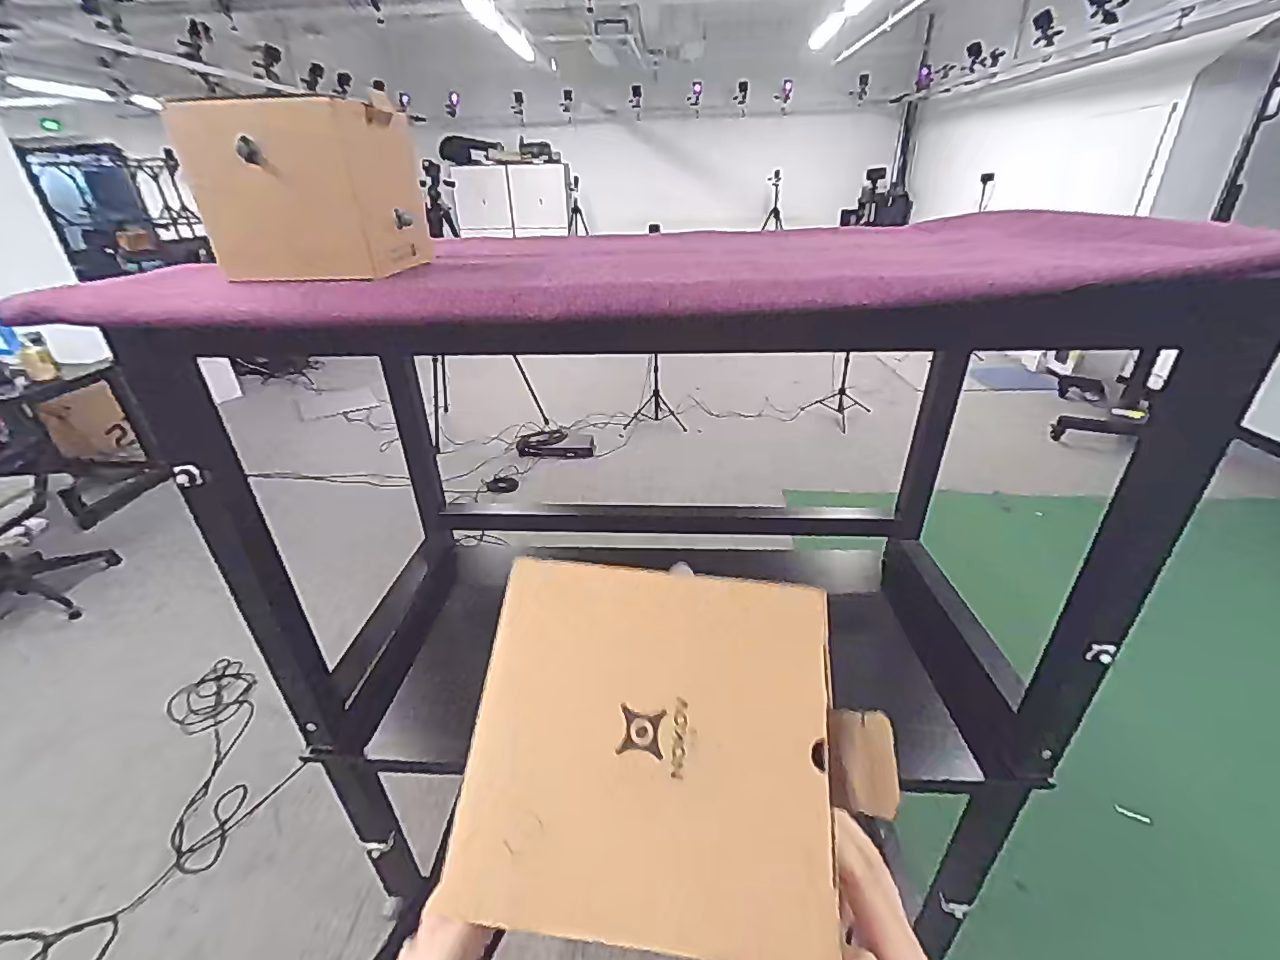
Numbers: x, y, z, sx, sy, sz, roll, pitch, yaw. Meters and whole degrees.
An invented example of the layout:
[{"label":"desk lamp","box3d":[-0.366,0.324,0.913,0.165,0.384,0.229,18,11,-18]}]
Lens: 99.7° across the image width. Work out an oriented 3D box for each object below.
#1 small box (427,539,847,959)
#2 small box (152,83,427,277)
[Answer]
[{"label":"small box","box3d":[0.008,0.147,0.325,0.179,0.176,0.168,4,64,5]},{"label":"small box","box3d":[-0.369,-0.329,0.610,0.179,0.176,0.168,0,30,3]}]
